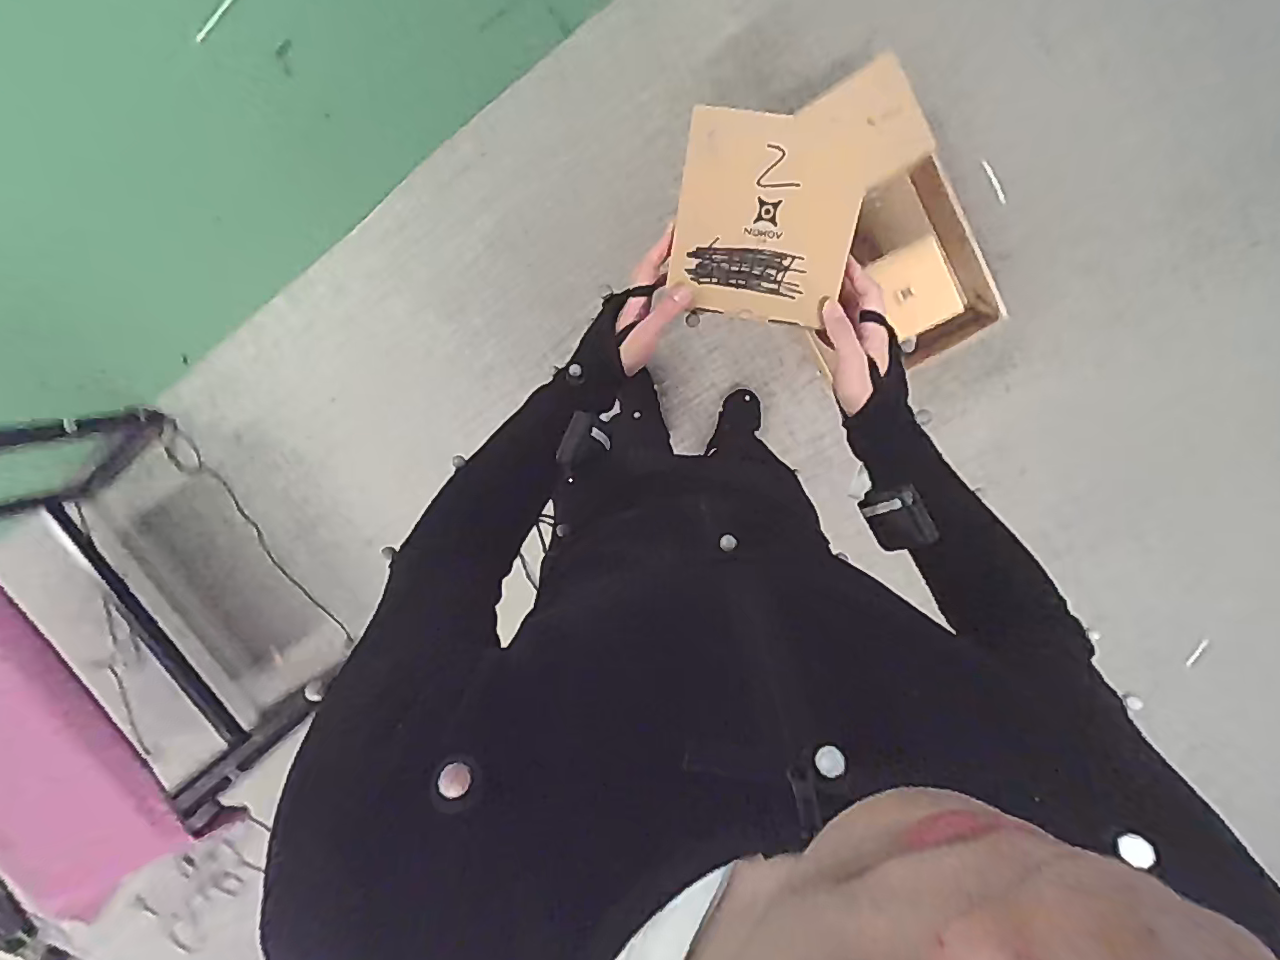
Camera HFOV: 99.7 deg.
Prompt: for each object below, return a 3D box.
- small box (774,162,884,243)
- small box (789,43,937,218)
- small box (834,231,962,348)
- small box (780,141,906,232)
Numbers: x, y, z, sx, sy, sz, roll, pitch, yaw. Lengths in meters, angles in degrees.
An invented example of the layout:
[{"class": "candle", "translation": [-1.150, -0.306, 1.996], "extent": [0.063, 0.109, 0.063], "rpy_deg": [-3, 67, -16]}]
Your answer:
[{"class": "small box", "translation": [0.429, -0.679, 1.255], "extent": [0.179, 0.176, 0.168], "rpy_deg": [-26, 99, 14]}, {"class": "small box", "translation": [0.374, -0.590, 0.946], "extent": [0.179, 0.176, 0.168], "rpy_deg": [-28, 100, 14]}, {"class": "small box", "translation": [0.535, -0.396, 1.146], "extent": [0.179, 0.176, 0.168], "rpy_deg": [-26, 99, 16]}, {"class": "small box", "translation": [0.402, -0.635, 1.101], "extent": [0.179, 0.176, 0.168], "rpy_deg": [-25, 101, 15]}]
